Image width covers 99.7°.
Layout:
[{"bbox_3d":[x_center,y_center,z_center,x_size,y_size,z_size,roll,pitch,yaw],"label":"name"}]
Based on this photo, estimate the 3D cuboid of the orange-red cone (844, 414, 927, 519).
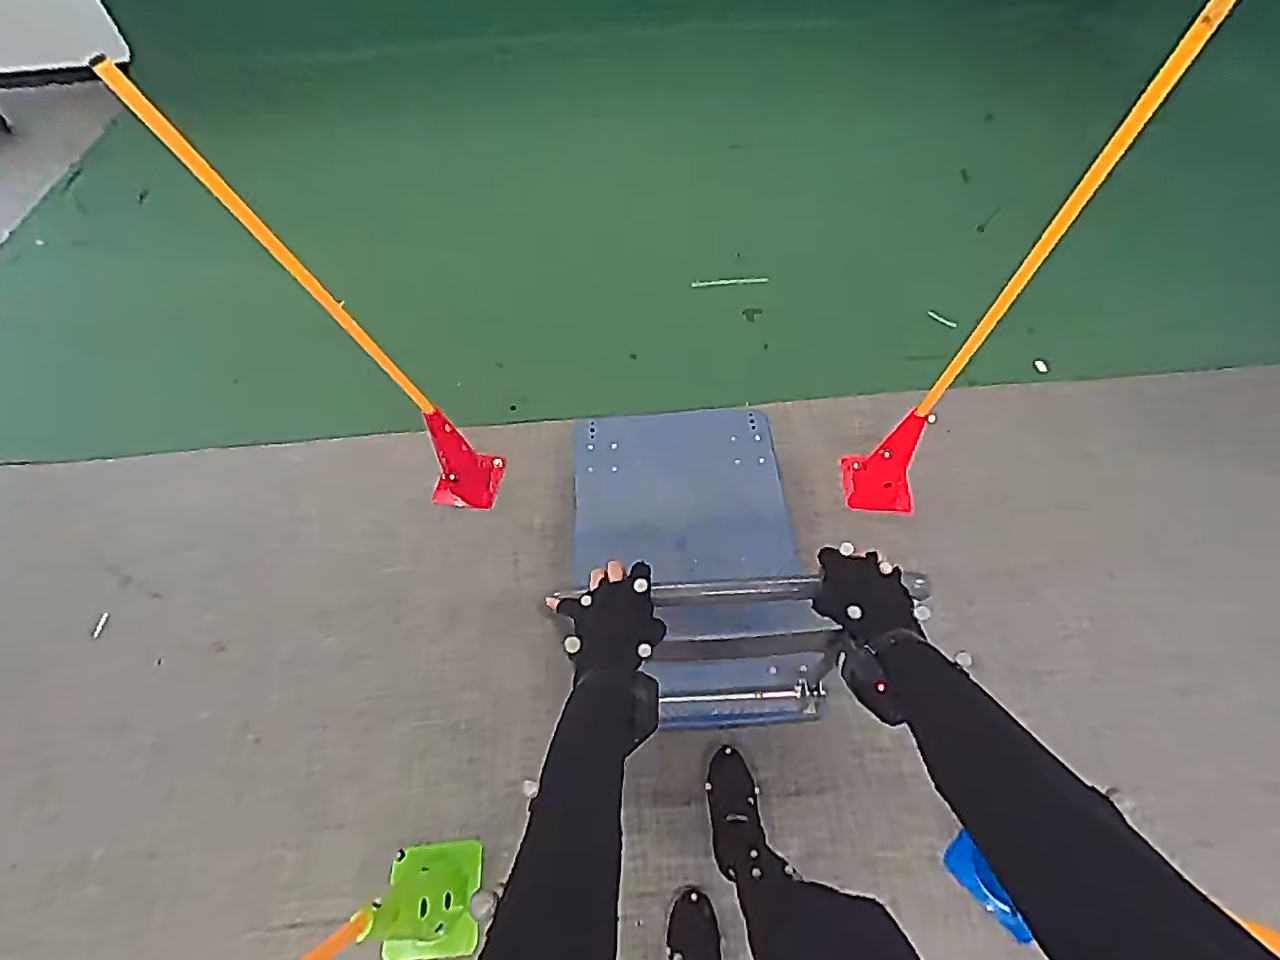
[{"bbox_3d":[0.735,-0.062,1.548,0.198,0.360,0.199,5,58,6],"label":"orange-red cone"}]
